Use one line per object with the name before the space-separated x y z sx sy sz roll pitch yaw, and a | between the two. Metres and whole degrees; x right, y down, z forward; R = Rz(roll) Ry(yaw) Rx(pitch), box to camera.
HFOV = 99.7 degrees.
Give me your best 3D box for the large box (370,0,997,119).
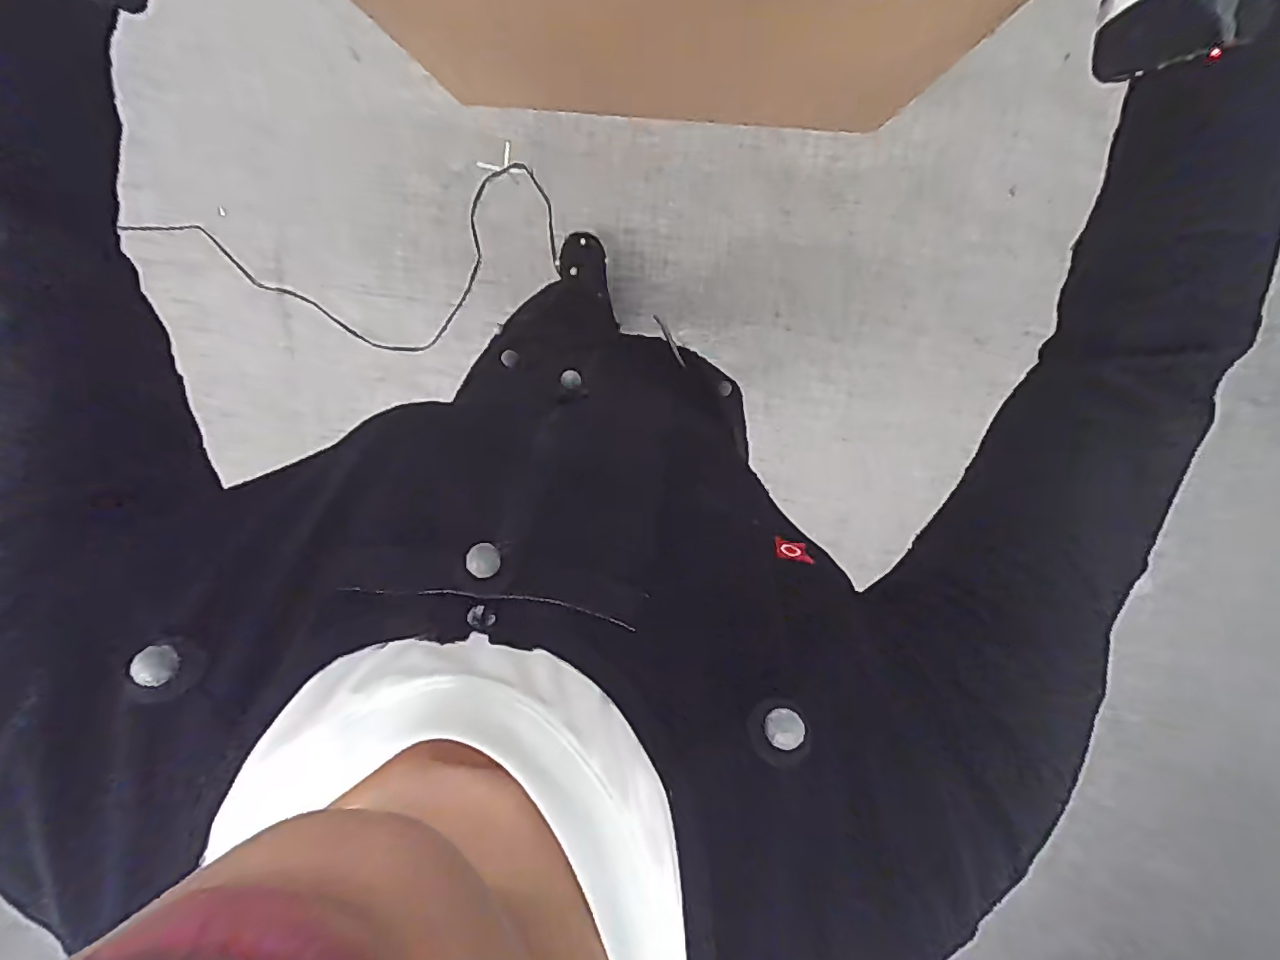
large box | 0.026 -0.453 0.334 0.408 0.320 0.320 4 109 2
